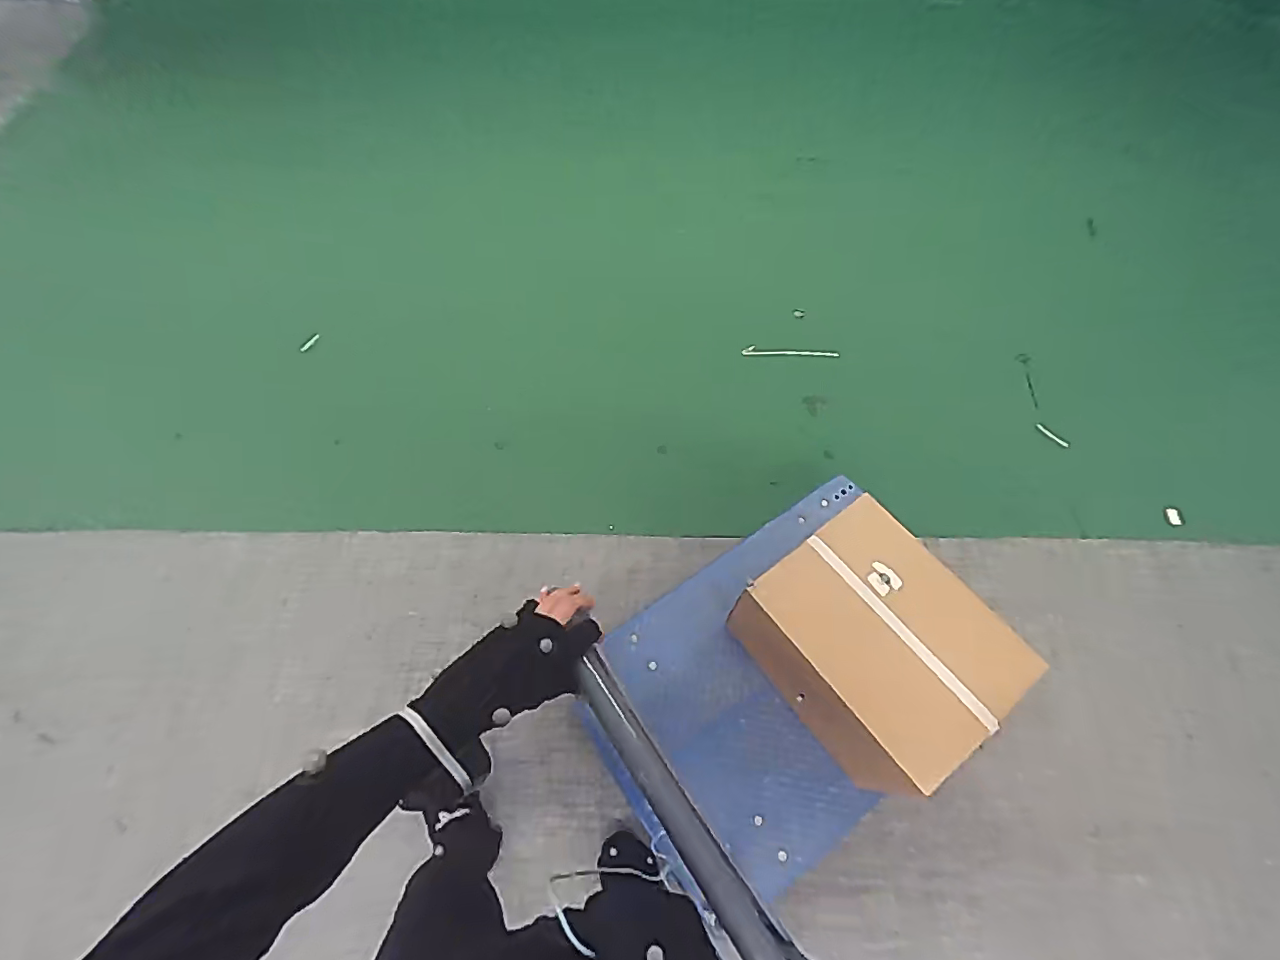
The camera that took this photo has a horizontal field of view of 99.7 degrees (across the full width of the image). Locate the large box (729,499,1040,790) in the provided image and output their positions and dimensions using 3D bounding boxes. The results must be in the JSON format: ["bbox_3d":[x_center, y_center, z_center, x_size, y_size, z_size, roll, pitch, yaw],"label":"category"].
[{"bbox_3d":[0.433,0.323,1.064,0.320,0.320,0.408,-34,66,-16],"label":"large box"}]
